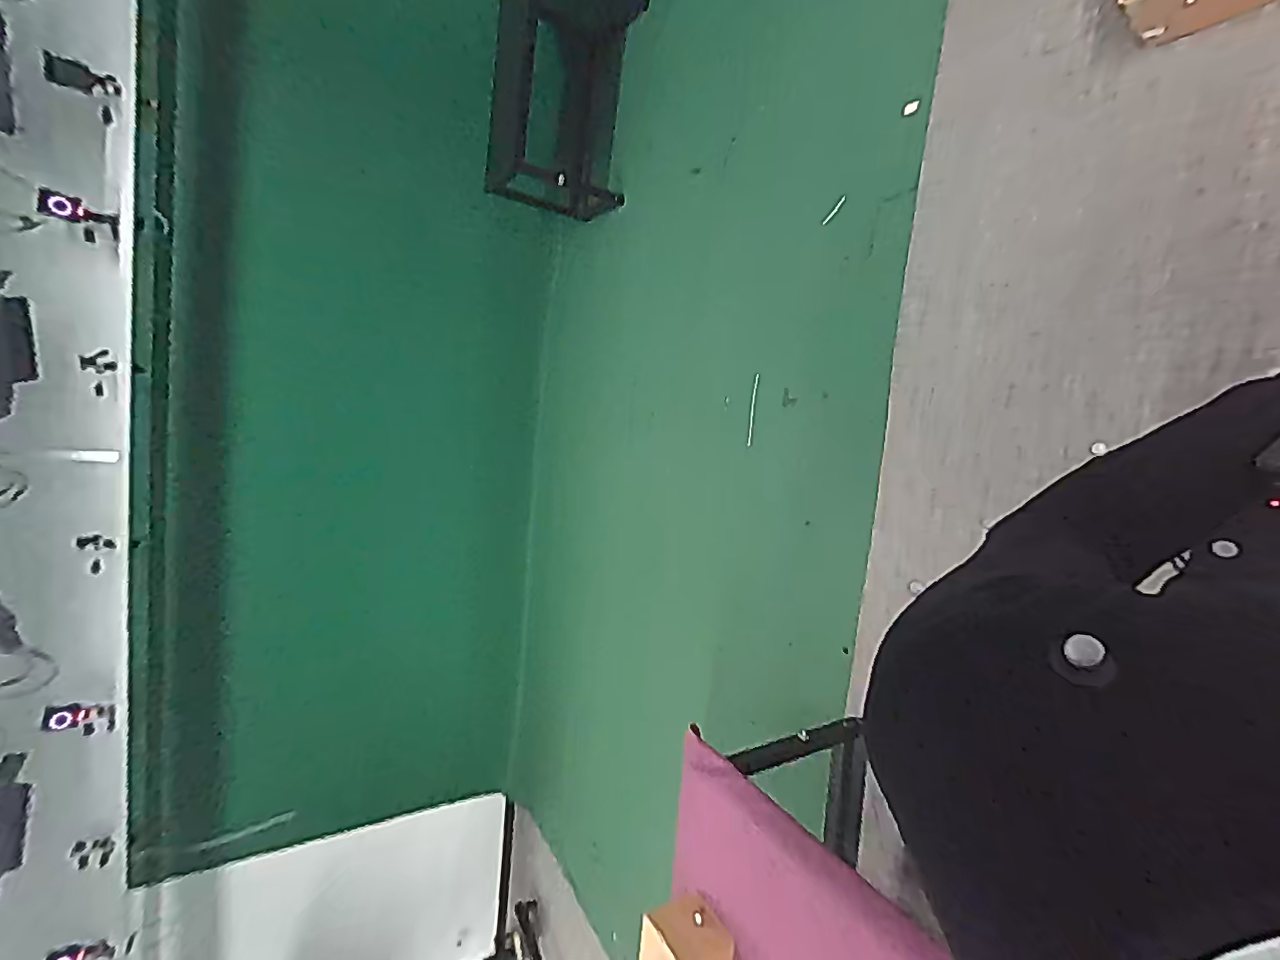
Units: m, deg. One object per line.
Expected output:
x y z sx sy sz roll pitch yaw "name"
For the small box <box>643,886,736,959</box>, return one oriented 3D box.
0.127 1.201 1.380 0.168 0.176 0.179 14 101 56 "small box"
